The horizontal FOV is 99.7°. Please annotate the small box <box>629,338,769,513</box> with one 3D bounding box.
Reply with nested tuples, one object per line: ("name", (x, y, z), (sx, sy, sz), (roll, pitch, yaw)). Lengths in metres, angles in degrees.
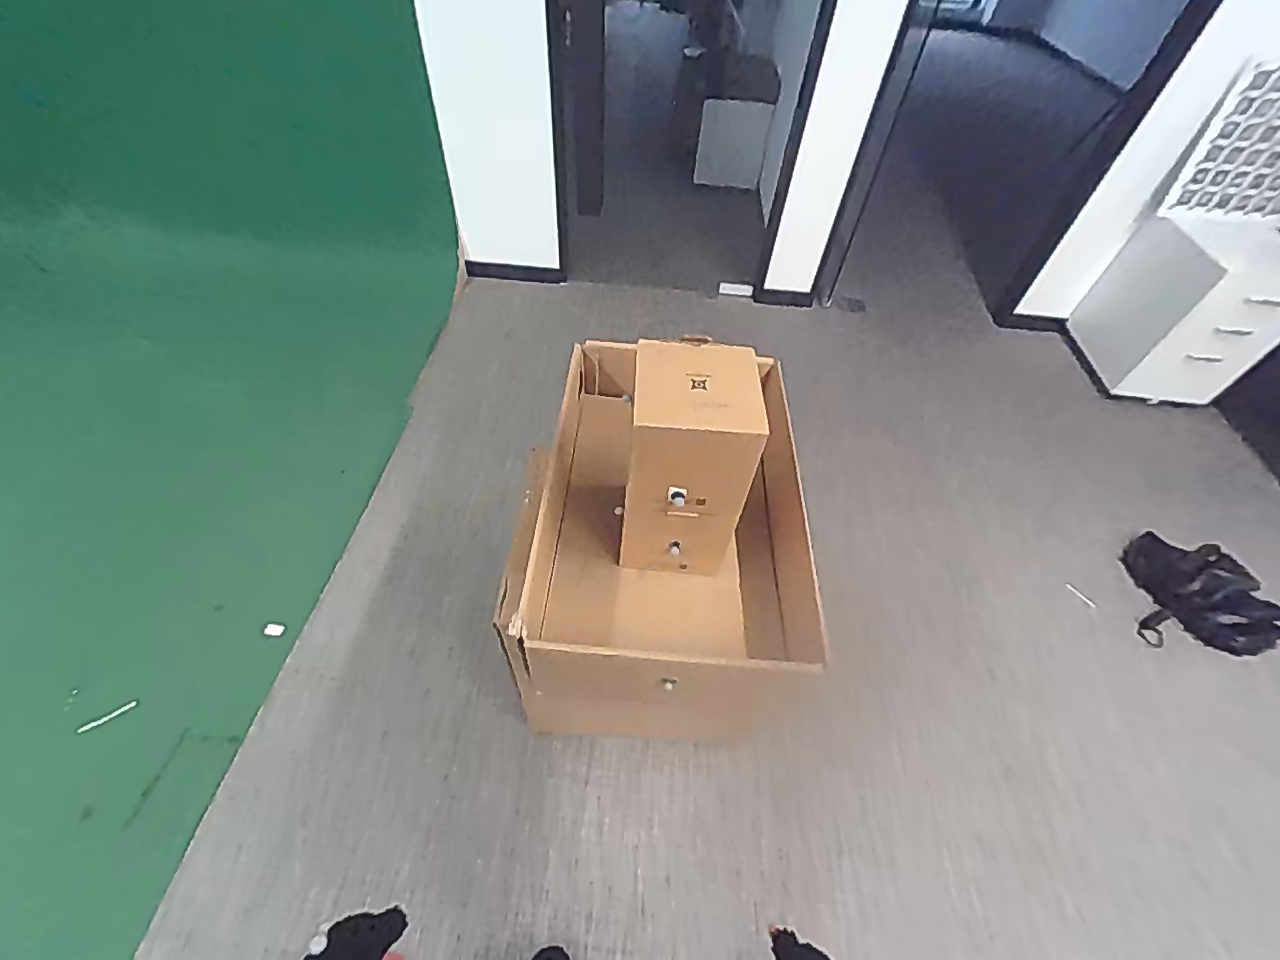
("small box", (0.071, -0.076, 0.763), (0.168, 0.176, 0.179), (3, 50, -2))
